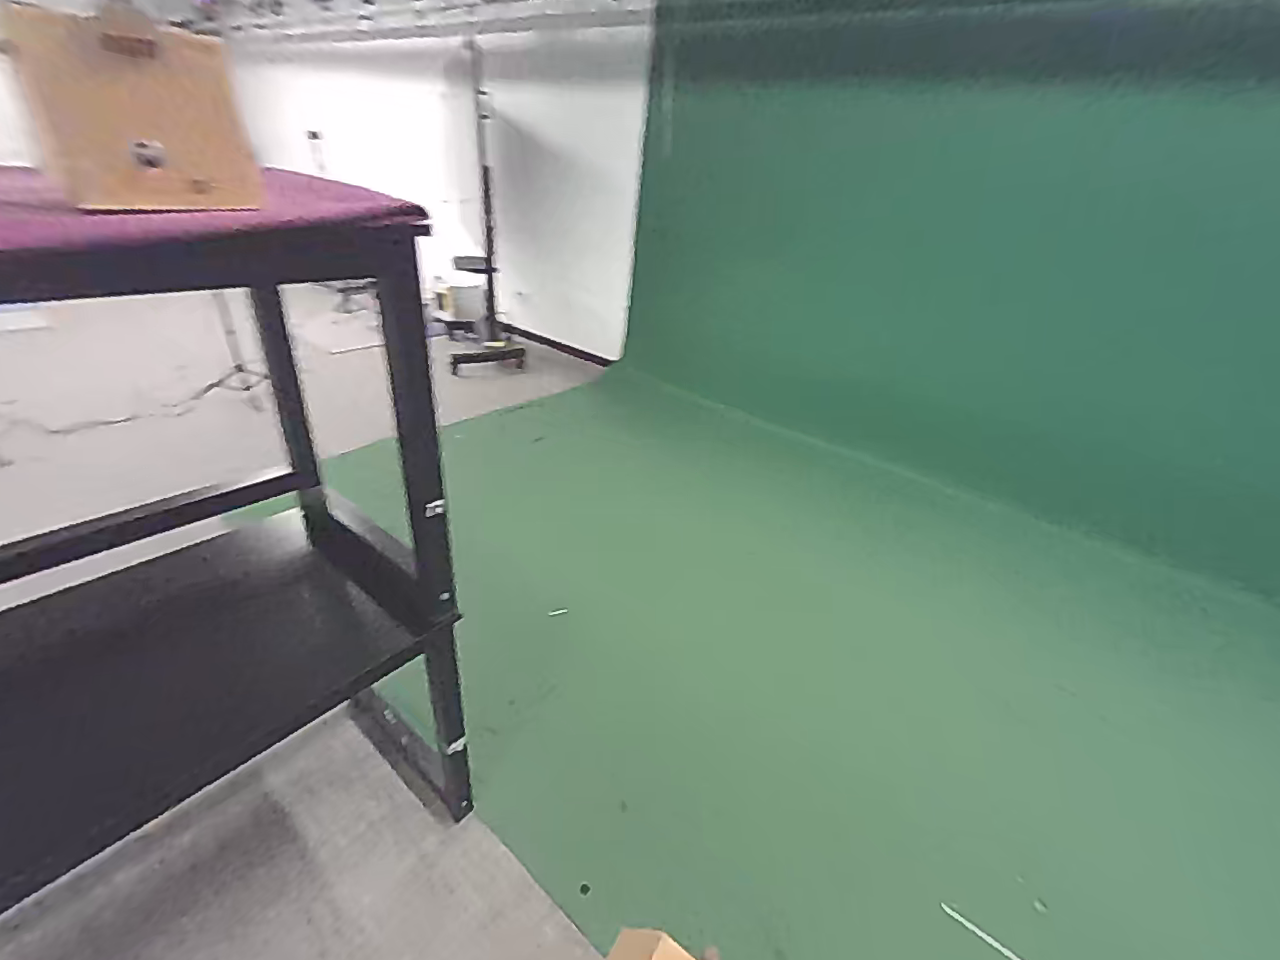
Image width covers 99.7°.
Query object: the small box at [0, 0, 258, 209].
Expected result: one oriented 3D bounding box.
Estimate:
[{"bbox_3d":[-0.567,-0.404,0.603,0.179,0.176,0.168,26,37,34],"label":"small box"}]
